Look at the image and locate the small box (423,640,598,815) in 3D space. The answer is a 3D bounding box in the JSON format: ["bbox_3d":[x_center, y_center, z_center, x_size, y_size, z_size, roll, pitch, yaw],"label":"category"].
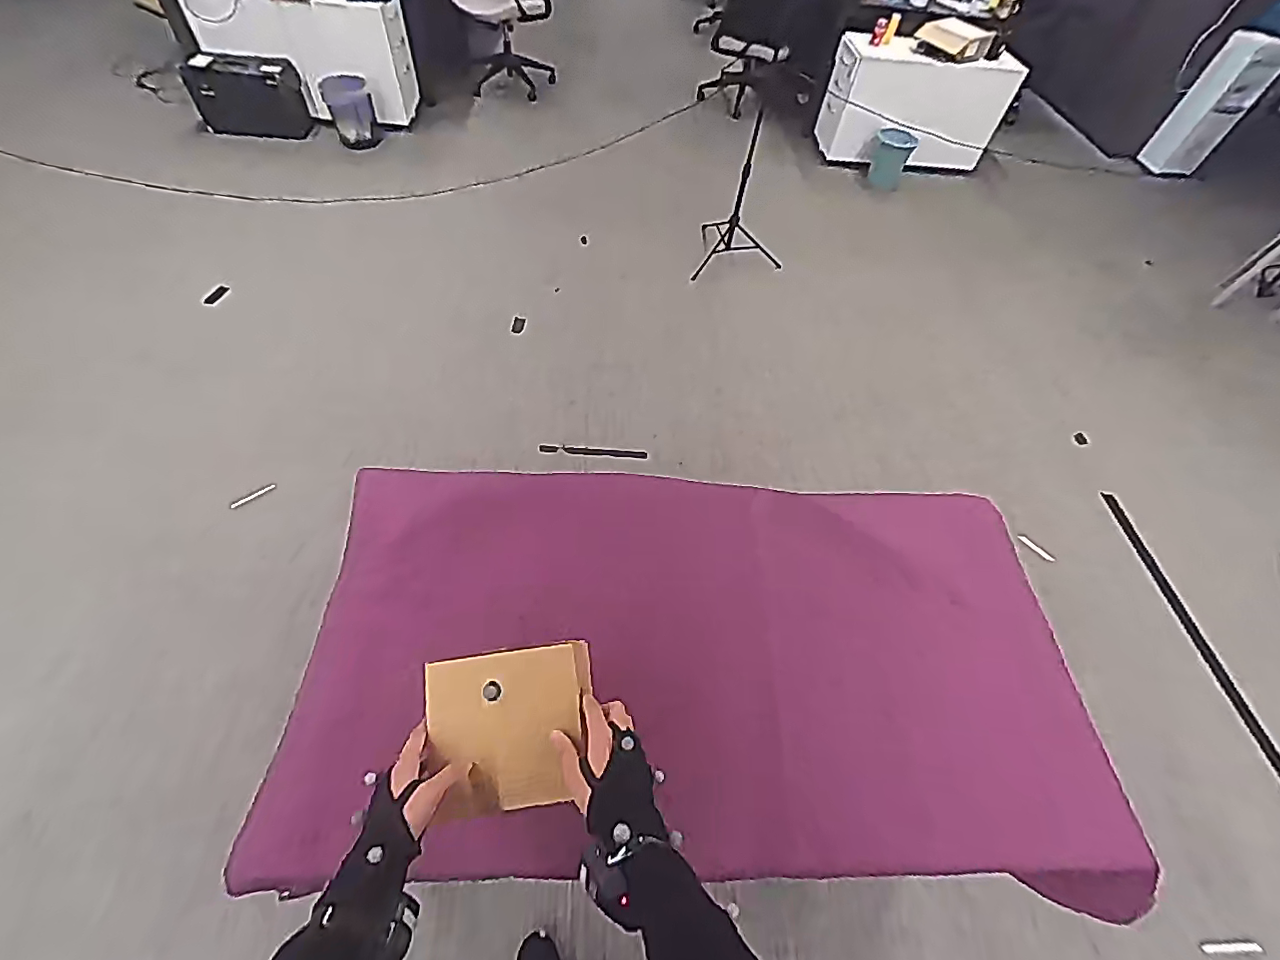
[{"bbox_3d":[-0.154,0.299,0.676,0.179,0.168,0.176,-7,73,-2],"label":"small box"}]
